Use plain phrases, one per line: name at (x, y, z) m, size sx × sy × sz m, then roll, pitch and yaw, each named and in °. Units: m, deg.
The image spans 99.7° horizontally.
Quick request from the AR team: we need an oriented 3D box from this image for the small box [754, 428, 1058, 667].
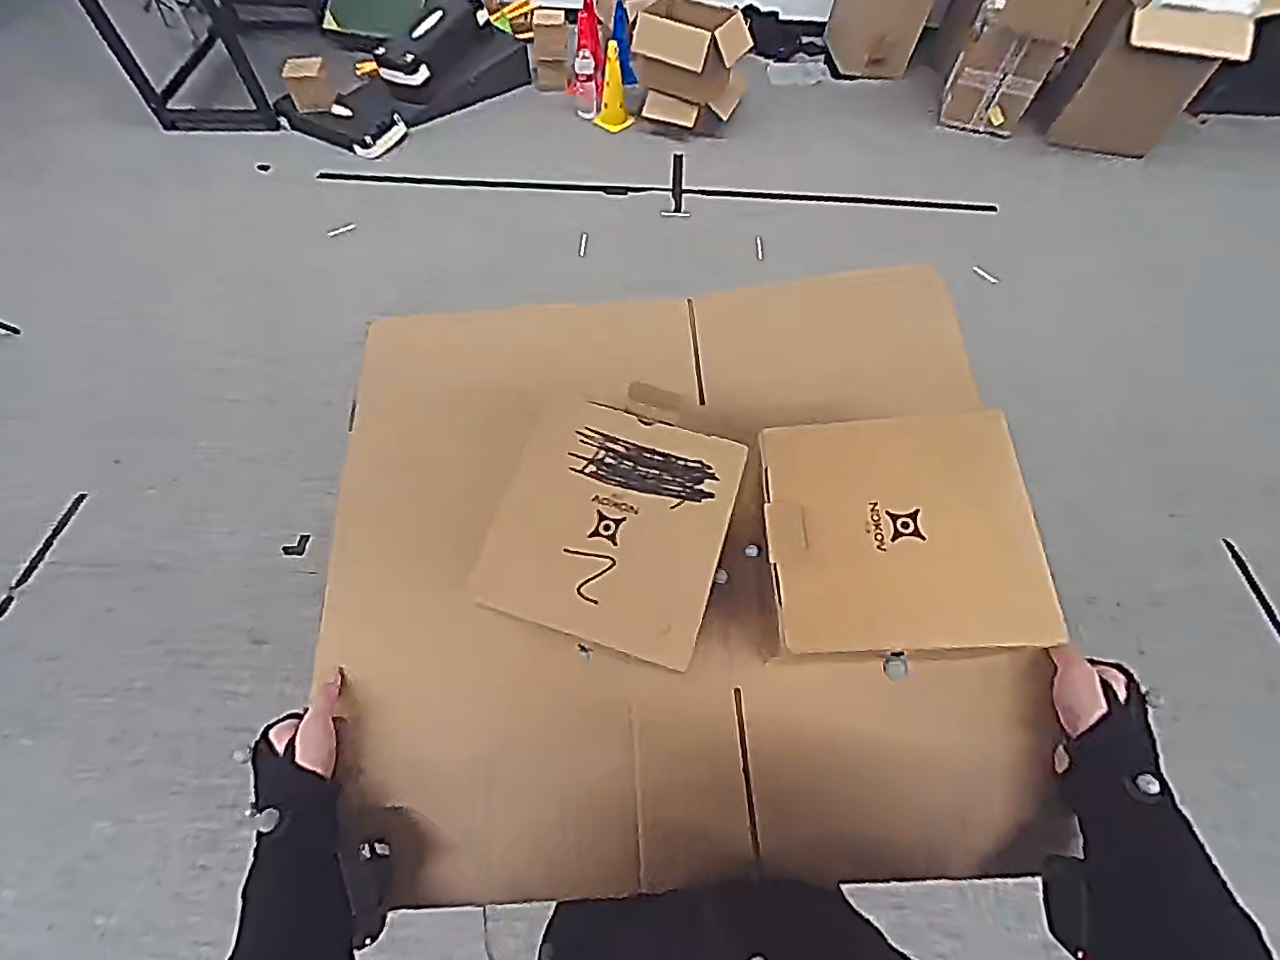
small box at (0.196, 0.070, 0.460) m, size 0.179 × 0.176 × 0.168 m, roll -5°, pitch 69°, yaw 8°
